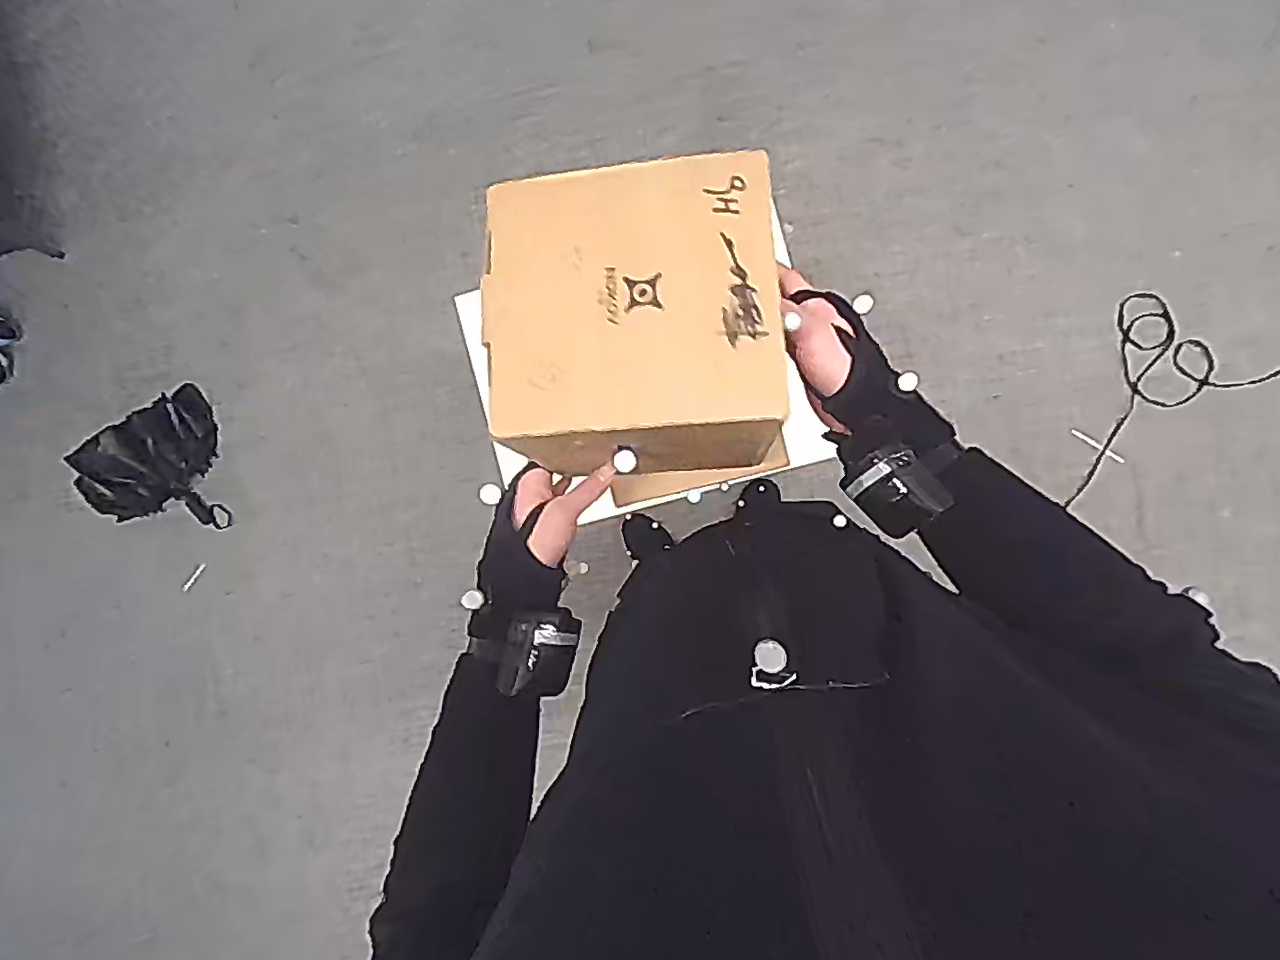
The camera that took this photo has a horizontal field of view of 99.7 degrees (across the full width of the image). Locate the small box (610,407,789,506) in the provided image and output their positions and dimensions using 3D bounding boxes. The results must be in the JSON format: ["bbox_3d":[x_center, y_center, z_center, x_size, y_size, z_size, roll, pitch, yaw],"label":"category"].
[{"bbox_3d":[0.045,-0.075,0.577,0.168,0.176,0.179,-13,89,5],"label":"small box"}]

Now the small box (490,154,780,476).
[{"bbox_3d":[0.005,-0.099,0.405,0.179,0.176,0.168,-4,81,9],"label":"small box"}]
